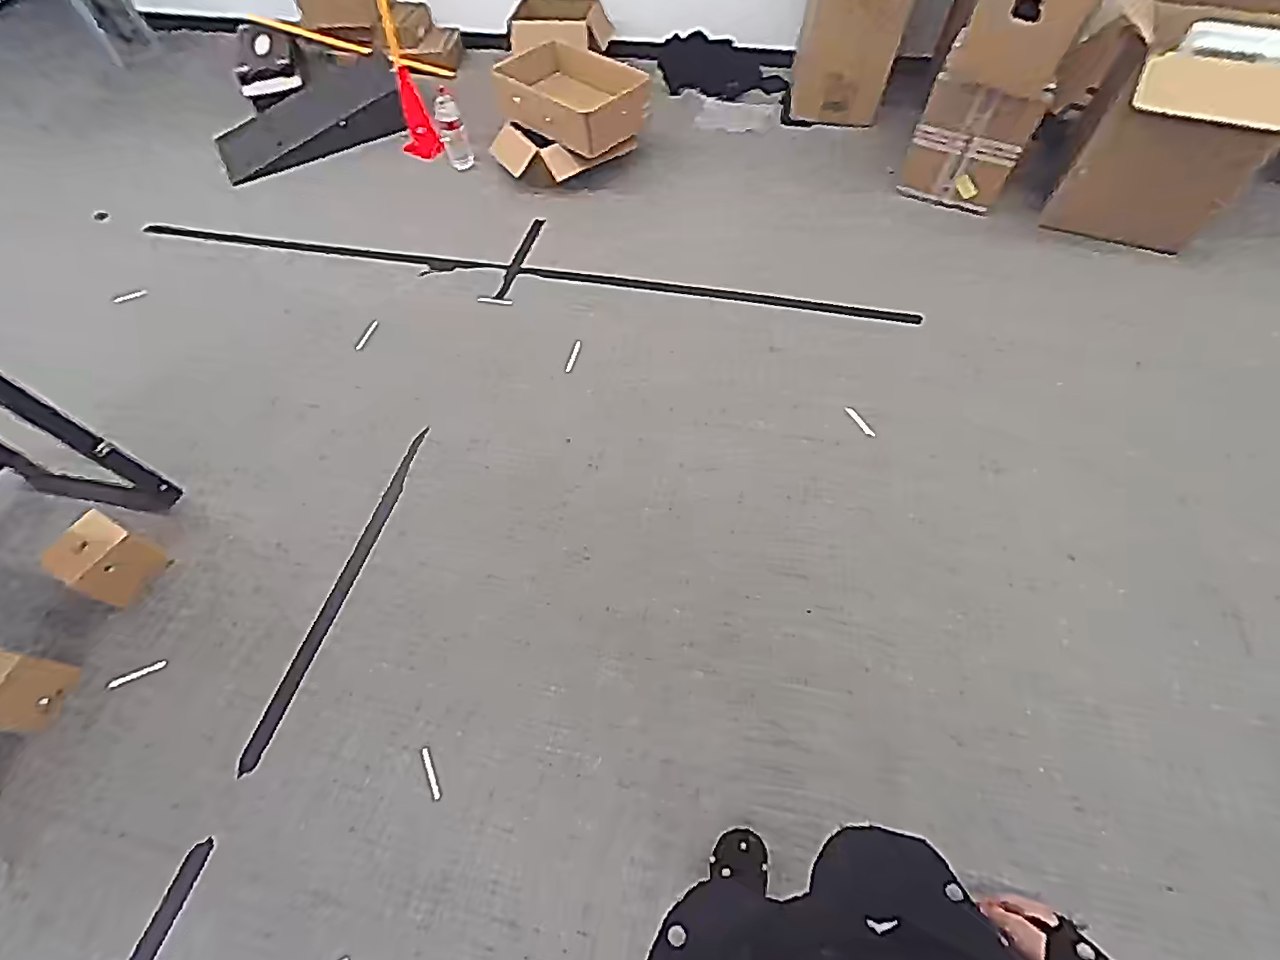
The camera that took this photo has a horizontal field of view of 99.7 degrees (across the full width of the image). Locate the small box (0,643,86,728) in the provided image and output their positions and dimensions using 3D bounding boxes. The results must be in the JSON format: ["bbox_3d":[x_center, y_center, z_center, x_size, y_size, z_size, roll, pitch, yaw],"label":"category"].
[{"bbox_3d":[-1.576,0.510,1.348,0.179,0.176,0.168,10,61,7],"label":"small box"}]

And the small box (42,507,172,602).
[{"bbox_3d":[-1.480,0.213,1.521,0.168,0.176,0.179,26,65,16],"label":"small box"}]
